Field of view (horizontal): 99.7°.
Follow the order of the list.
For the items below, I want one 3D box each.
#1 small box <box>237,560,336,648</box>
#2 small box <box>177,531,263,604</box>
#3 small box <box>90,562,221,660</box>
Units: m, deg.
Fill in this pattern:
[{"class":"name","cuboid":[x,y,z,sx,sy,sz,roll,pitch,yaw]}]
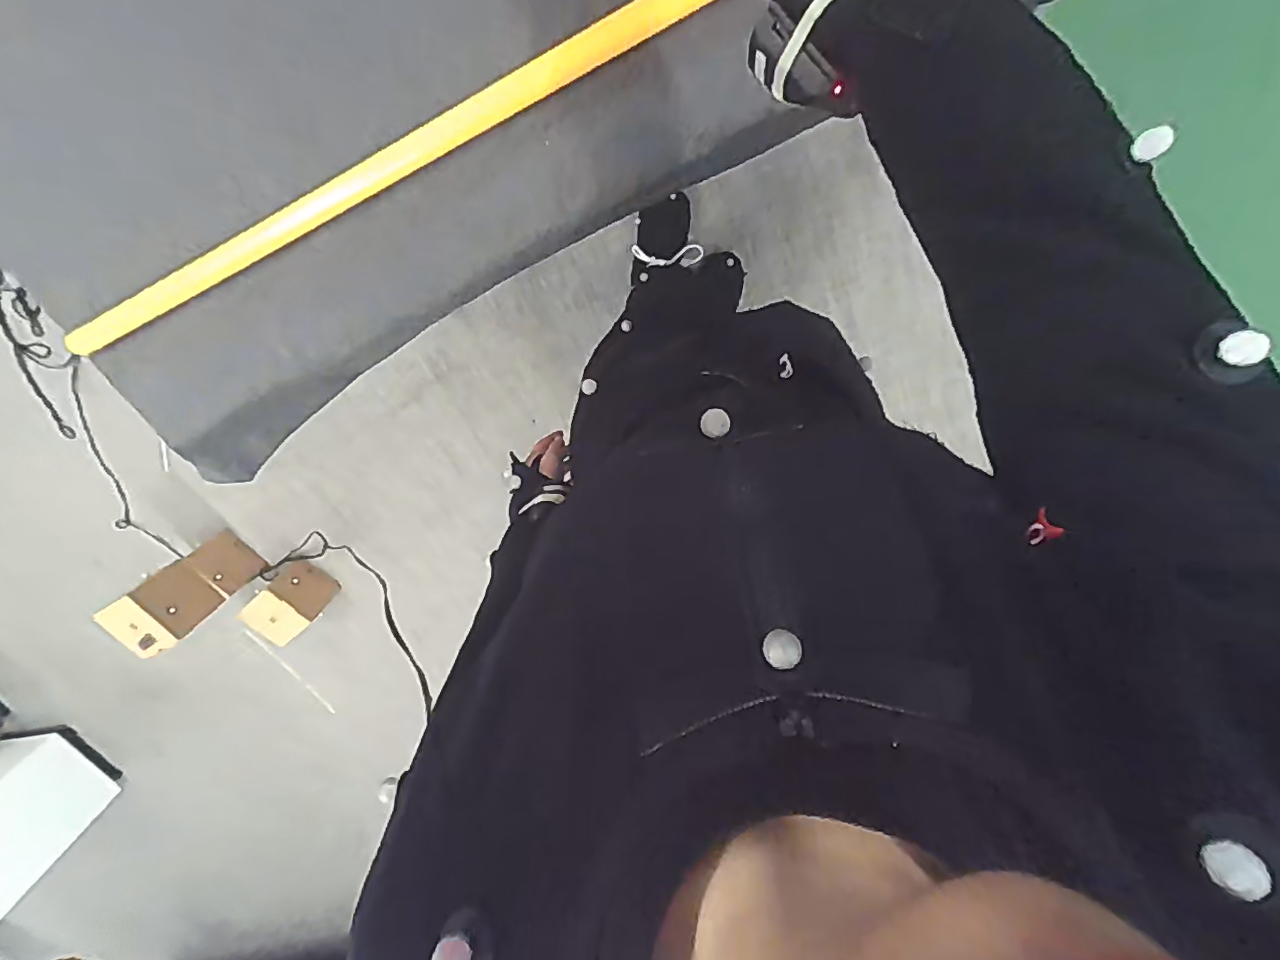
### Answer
[{"class":"small box","cuboid":[-1.092,0.382,1.688,0.179,0.176,0.168,-36,109,22]},{"class":"small box","cuboid":[-1.313,0.289,1.655,0.179,0.176,0.168,-30,111,20]},{"class":"small box","cuboid":[-1.337,0.361,1.507,0.168,0.176,0.179,-25,112,17]}]
